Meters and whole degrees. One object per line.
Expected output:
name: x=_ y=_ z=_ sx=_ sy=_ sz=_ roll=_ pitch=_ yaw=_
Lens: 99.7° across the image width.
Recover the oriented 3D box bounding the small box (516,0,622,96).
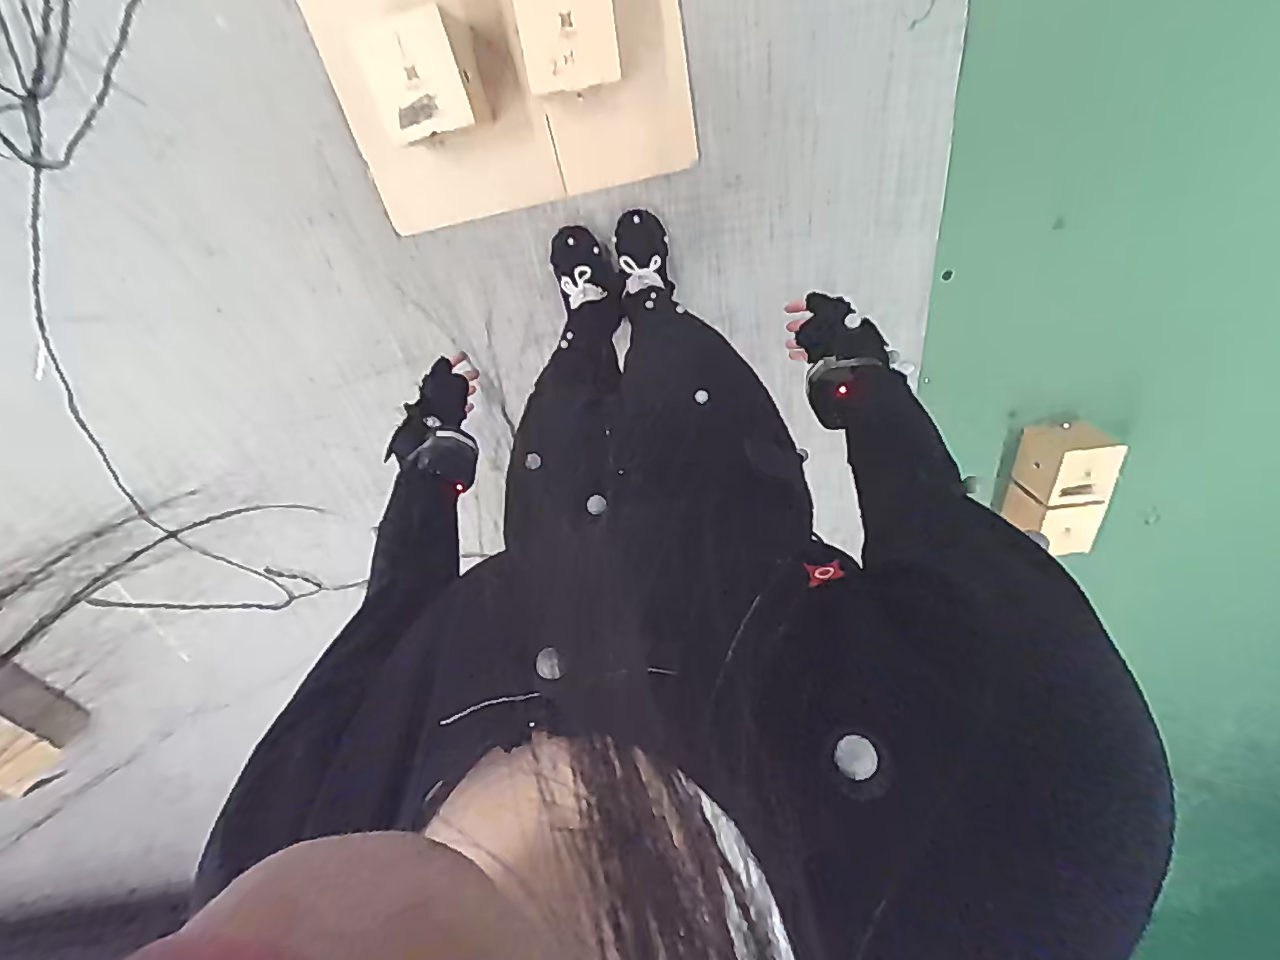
small box: x=-0.124 y=-0.814 z=0.977 sx=0.168 sy=0.176 sz=0.179 roll=-7 pitch=123 yaw=3

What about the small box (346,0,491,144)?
small box: x=-0.395 y=-0.747 z=1.004 sx=0.168 sy=0.176 sz=0.179 roll=-12 pitch=122 yaw=6
